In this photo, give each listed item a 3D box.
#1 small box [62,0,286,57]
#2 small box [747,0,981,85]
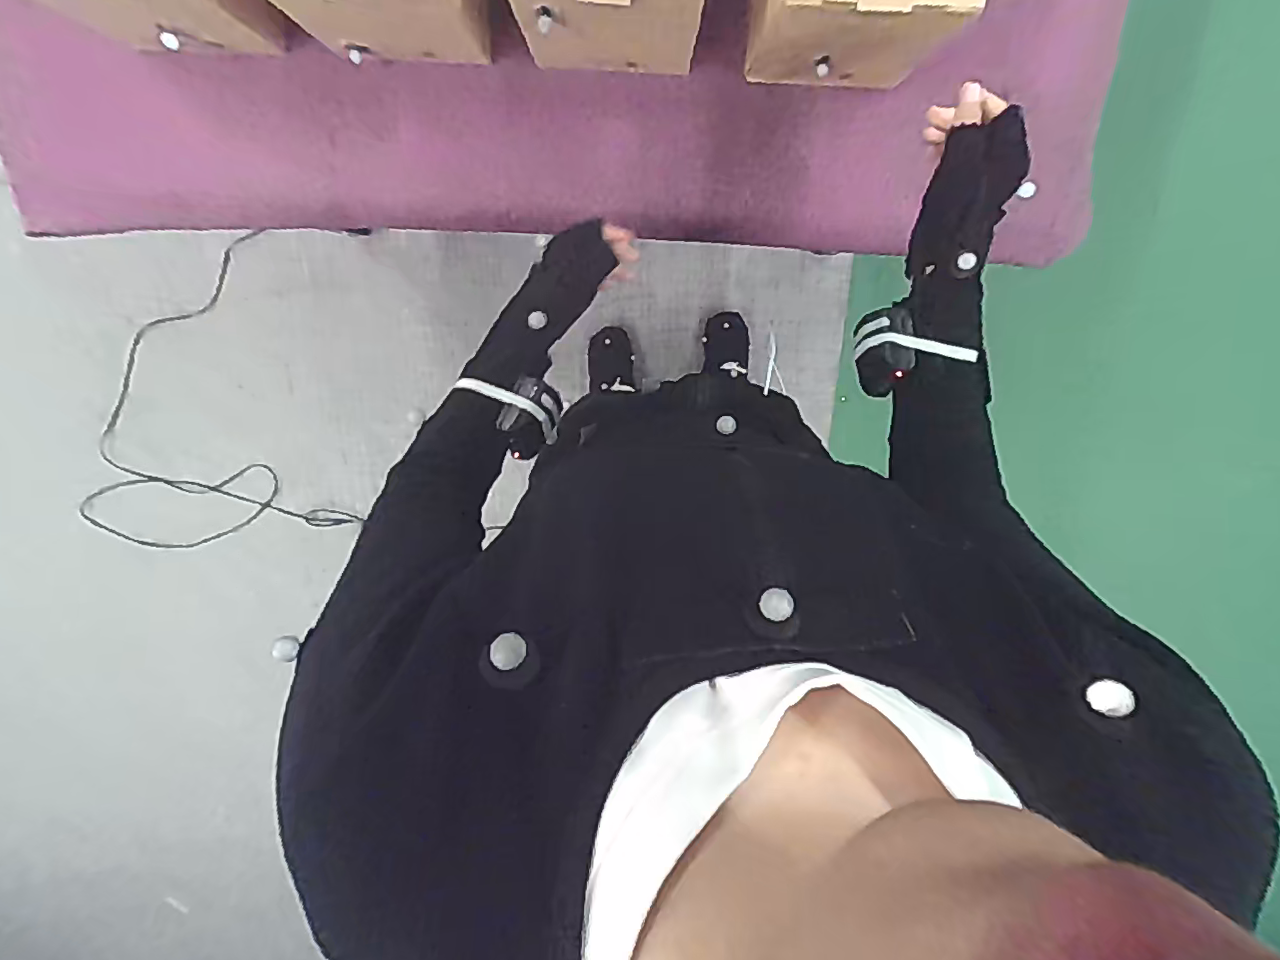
[{"bbox_3d":[-0.453,-0.515,0.476,0.168,0.176,0.179,2,109,-1],"label":"small box"},{"bbox_3d":[0.199,-0.493,0.488,0.168,0.176,0.179,2,110,-1],"label":"small box"}]
